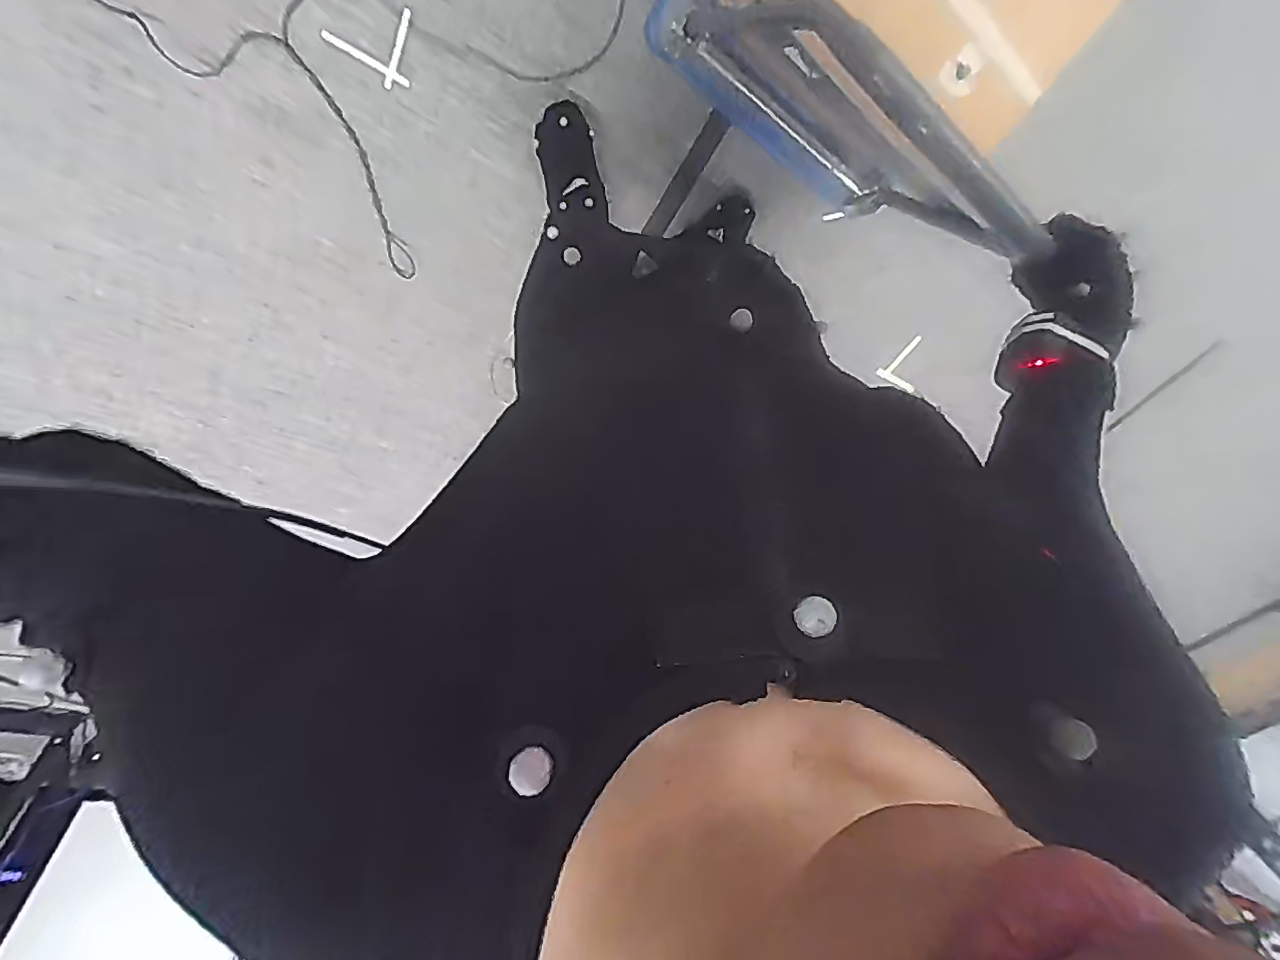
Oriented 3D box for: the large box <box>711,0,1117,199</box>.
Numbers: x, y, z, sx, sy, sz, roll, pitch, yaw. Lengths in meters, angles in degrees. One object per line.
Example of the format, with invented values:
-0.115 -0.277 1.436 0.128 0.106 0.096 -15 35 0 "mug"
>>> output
0.380 -0.712 0.814 0.408 0.320 0.320 21 125 -28 "large box"
